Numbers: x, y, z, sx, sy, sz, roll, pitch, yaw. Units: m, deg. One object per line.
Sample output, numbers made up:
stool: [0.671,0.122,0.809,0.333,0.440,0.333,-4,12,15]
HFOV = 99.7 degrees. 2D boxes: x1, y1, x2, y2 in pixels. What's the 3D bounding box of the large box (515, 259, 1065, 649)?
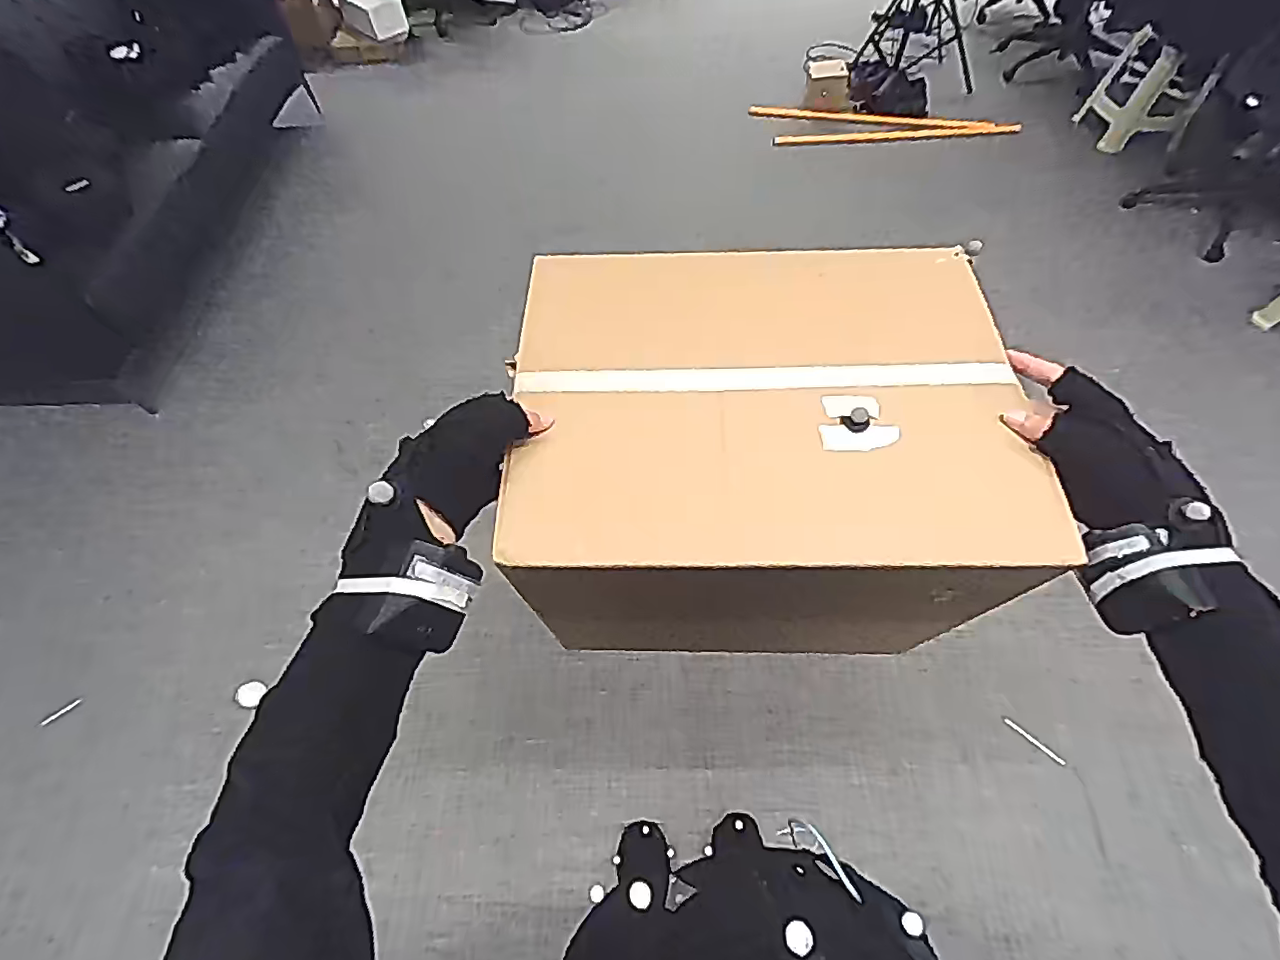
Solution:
large box: [0.106,-0.007,0.586,0.408,0.320,0.320,0,62,1]
